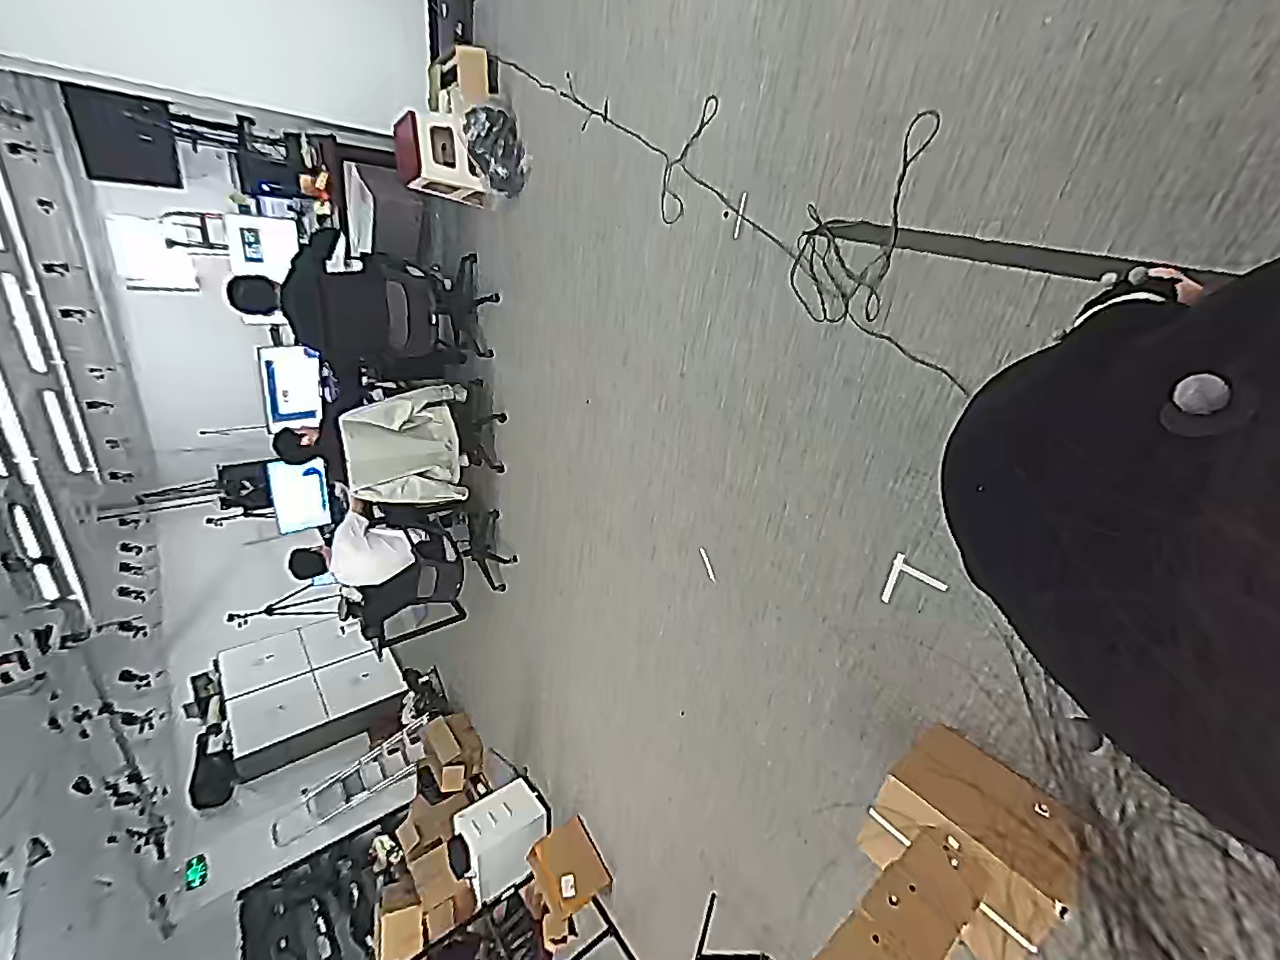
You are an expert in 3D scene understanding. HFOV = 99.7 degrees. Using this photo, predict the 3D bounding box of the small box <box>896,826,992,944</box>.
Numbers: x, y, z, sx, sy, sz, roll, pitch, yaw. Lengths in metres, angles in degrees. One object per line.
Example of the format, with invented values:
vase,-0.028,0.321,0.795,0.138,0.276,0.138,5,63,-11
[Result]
small box,0.706,0.988,1.295,0.168,0.176,0.179,31,122,43

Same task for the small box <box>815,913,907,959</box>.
small box,0.454,1.044,1.094,0.168,0.176,0.179,25,119,47

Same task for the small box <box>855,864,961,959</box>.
small box,0.579,1.010,1.196,0.168,0.176,0.179,30,123,45
